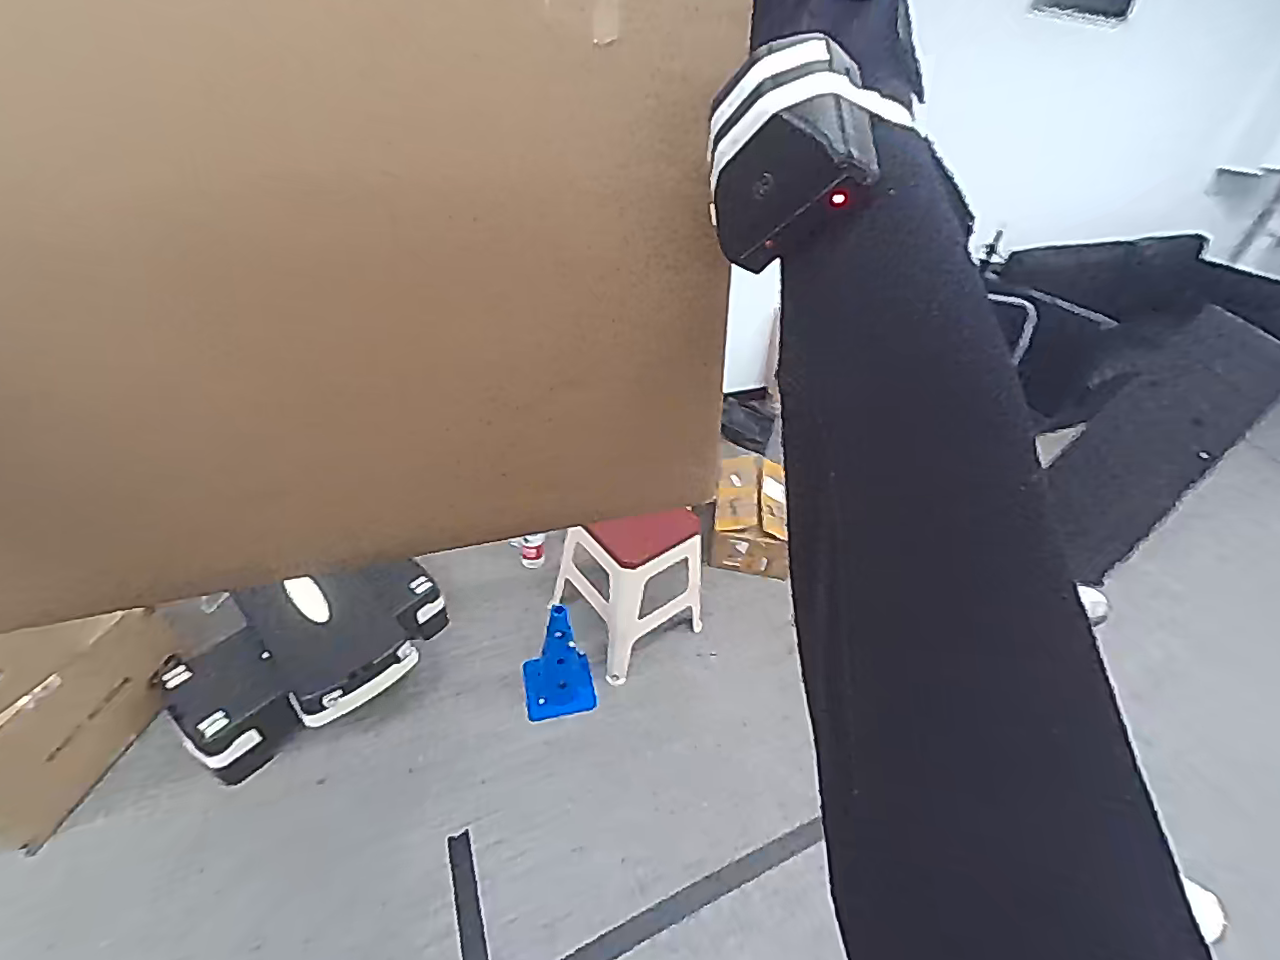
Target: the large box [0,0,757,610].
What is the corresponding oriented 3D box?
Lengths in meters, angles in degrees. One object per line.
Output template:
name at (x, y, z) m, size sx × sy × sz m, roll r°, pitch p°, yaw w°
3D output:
large box at (-0.182, -0.162, 0.355) m, size 0.408 × 0.320 × 0.320 m, roll -8°, pitch 33°, yaw -15°
